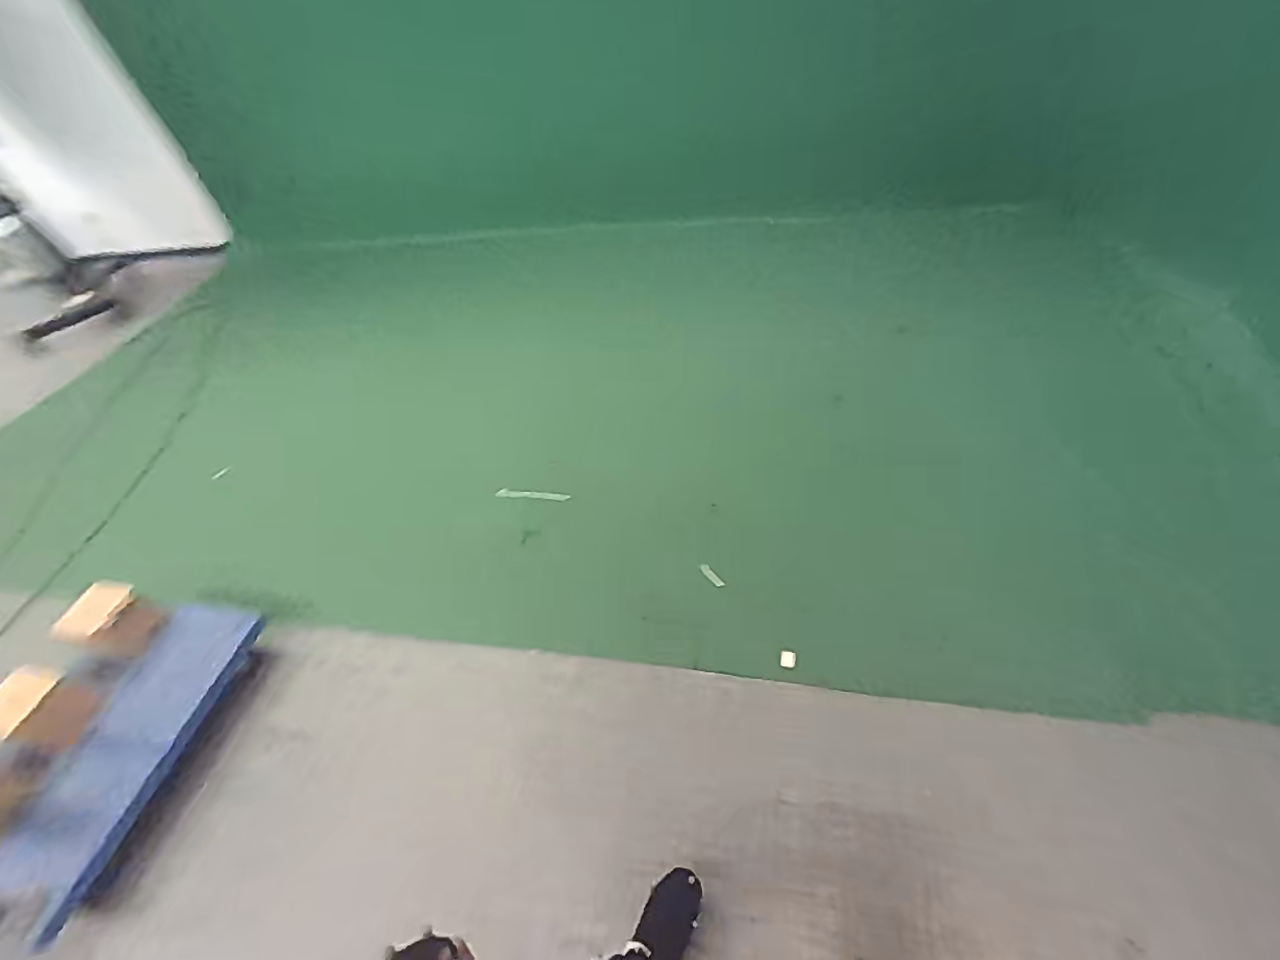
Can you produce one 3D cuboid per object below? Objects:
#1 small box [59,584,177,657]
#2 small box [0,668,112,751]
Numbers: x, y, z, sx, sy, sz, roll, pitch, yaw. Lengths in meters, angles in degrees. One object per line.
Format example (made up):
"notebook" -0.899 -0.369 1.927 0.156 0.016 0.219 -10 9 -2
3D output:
"small box" -1.675 0.456 1.745 0.179 0.176 0.168 3 50 12
"small box" -1.722 0.668 1.568 0.179 0.176 0.168 4 49 12
